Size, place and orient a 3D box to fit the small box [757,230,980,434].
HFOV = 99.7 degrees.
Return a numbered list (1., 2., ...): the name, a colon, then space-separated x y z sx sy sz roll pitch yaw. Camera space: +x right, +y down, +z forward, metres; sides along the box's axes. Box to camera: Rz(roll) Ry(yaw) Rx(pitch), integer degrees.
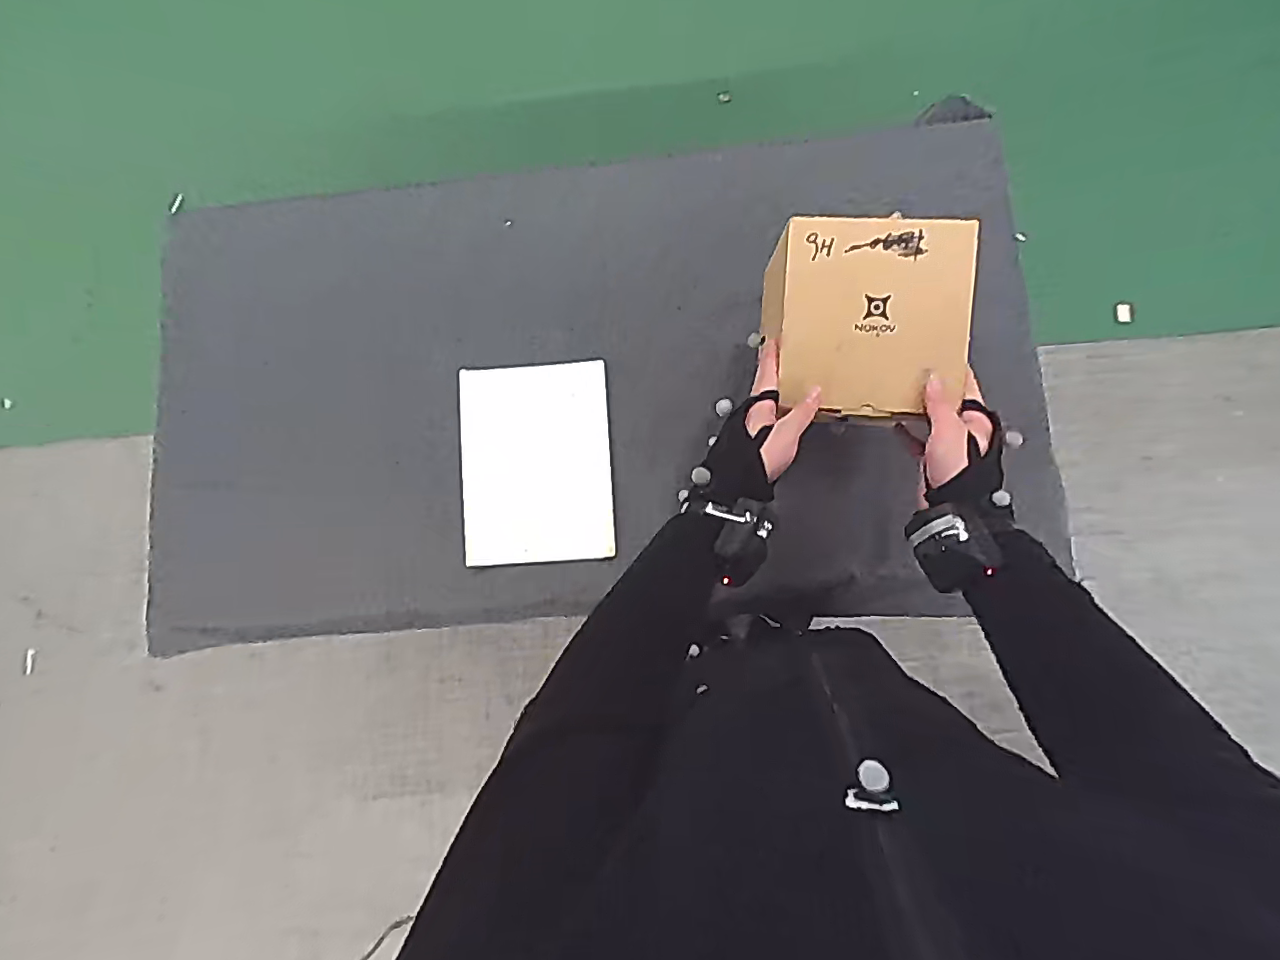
1. small box: 0.220 -0.143 0.570 0.168 0.176 0.179 4 96 4
